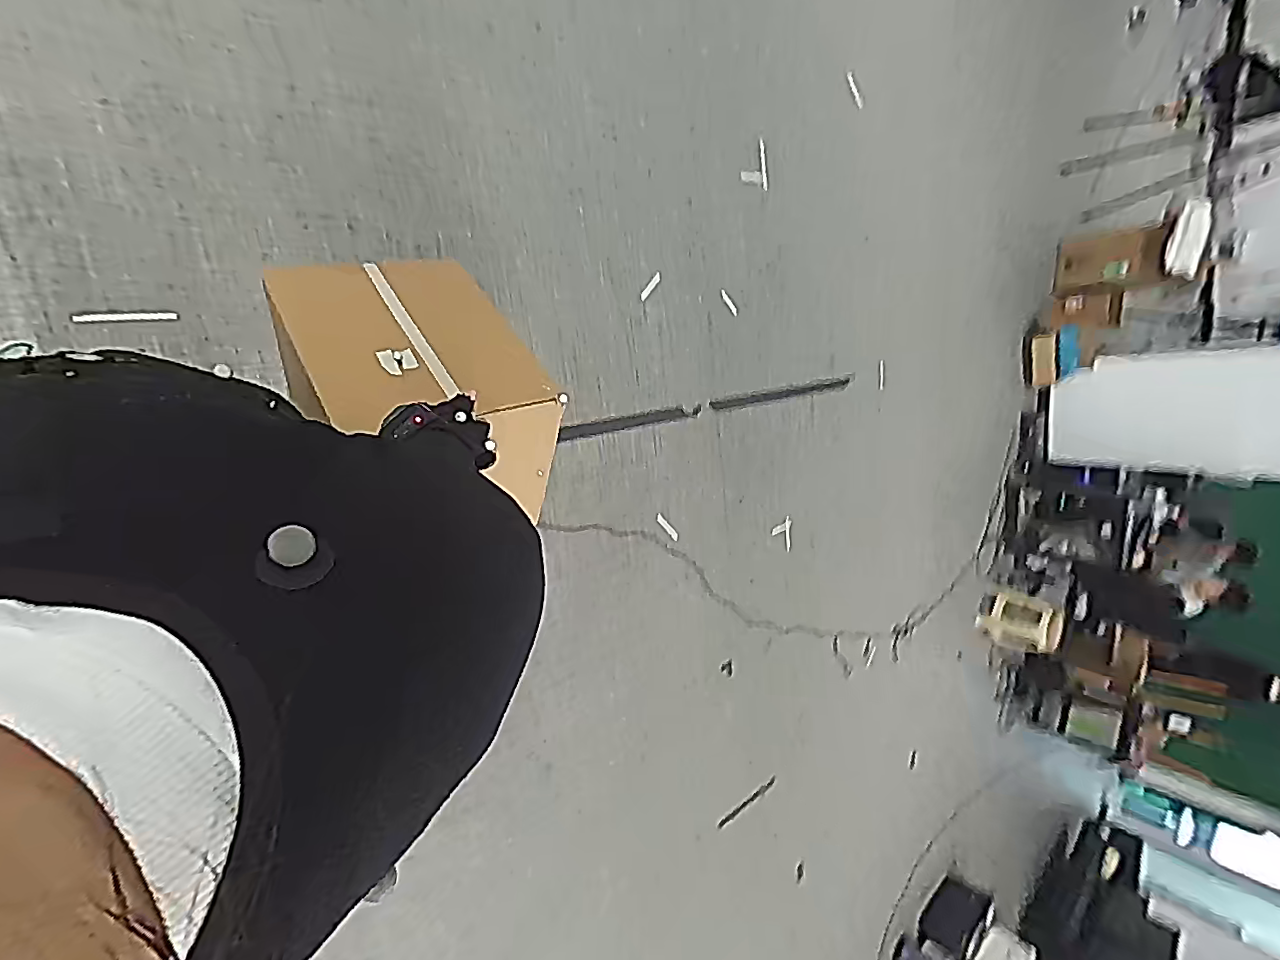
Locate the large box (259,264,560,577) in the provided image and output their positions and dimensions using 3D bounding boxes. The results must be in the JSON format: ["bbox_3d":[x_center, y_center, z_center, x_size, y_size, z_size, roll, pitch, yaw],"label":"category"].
[{"bbox_3d":[-0.391,-0.117,0.920,0.320,0.408,0.320,-19,149,-33],"label":"large box"}]
